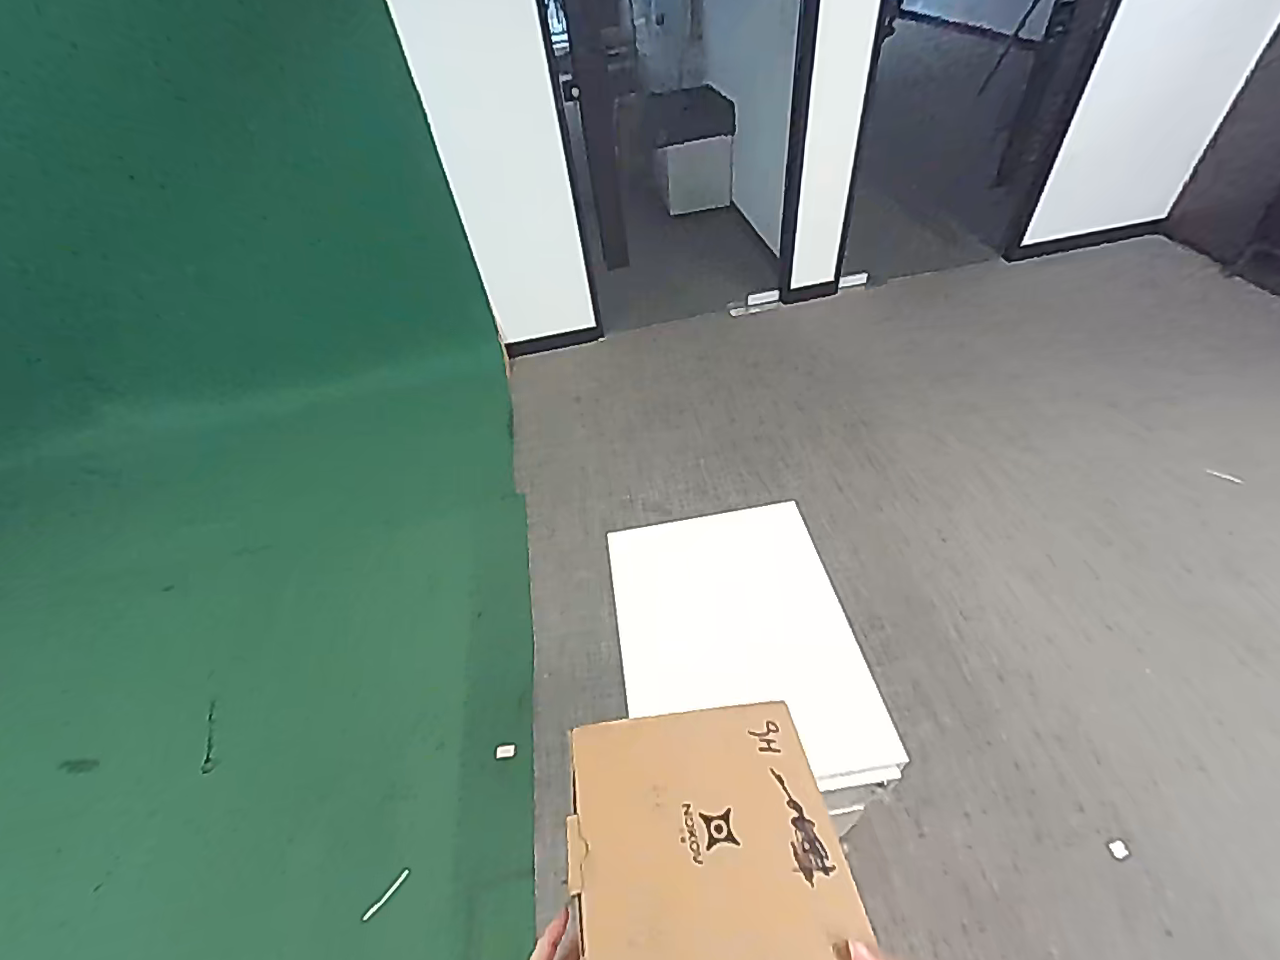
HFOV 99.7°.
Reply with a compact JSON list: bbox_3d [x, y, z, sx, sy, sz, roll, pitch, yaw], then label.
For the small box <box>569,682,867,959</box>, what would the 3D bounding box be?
[{"bbox_3d":[0.040,0.287,0.425,0.179,0.176,0.168,-4,40,-8],"label":"small box"}]
